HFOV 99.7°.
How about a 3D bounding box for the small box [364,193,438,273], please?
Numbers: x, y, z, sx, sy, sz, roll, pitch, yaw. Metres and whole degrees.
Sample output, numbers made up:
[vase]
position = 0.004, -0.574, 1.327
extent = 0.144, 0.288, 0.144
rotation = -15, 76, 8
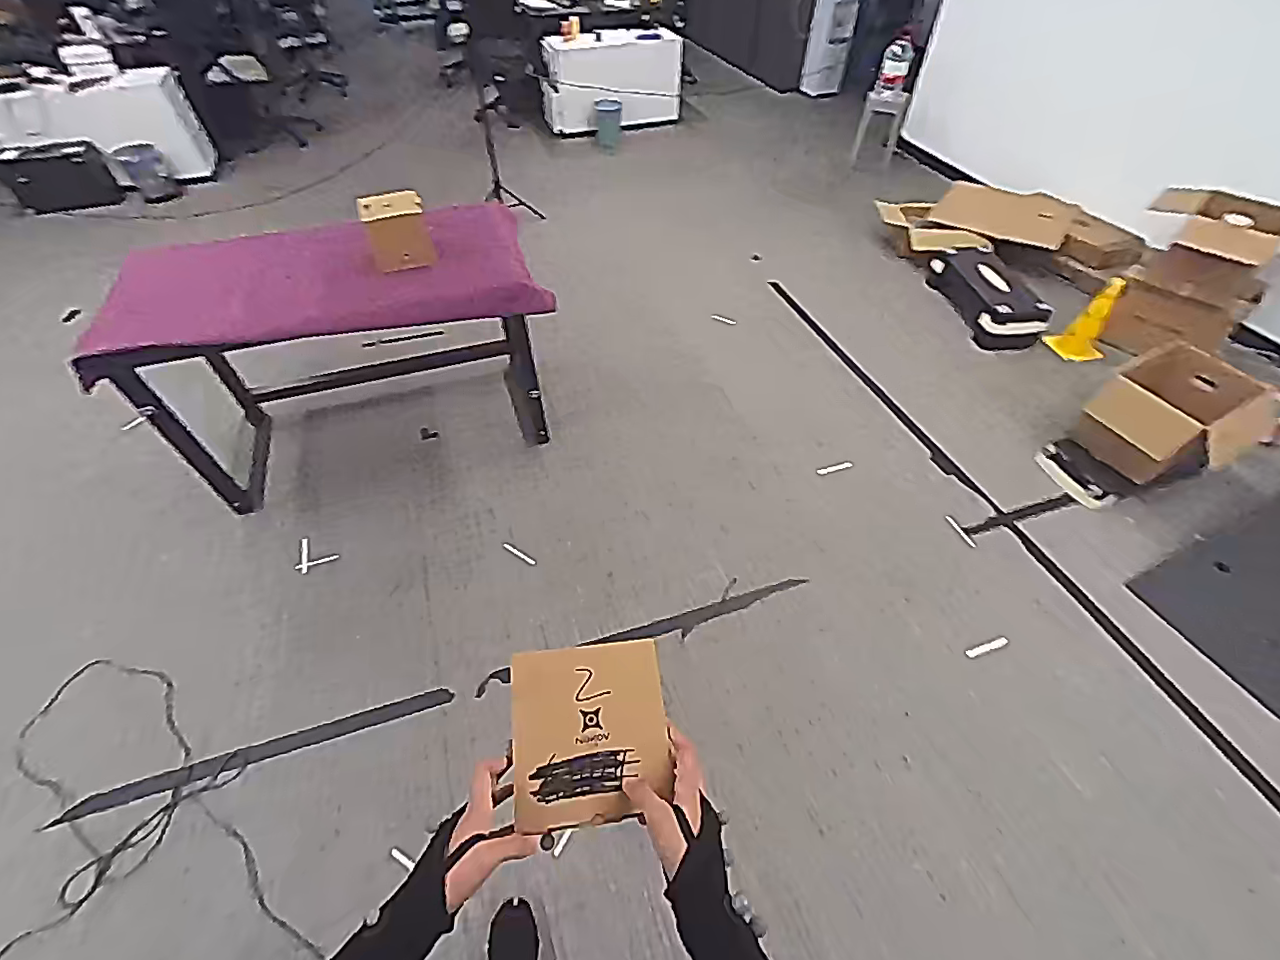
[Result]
[small box]
position = -0.755, -0.786, 1.723
extent = 0.179, 0.176, 0.168
rotation = -17, 51, -14
